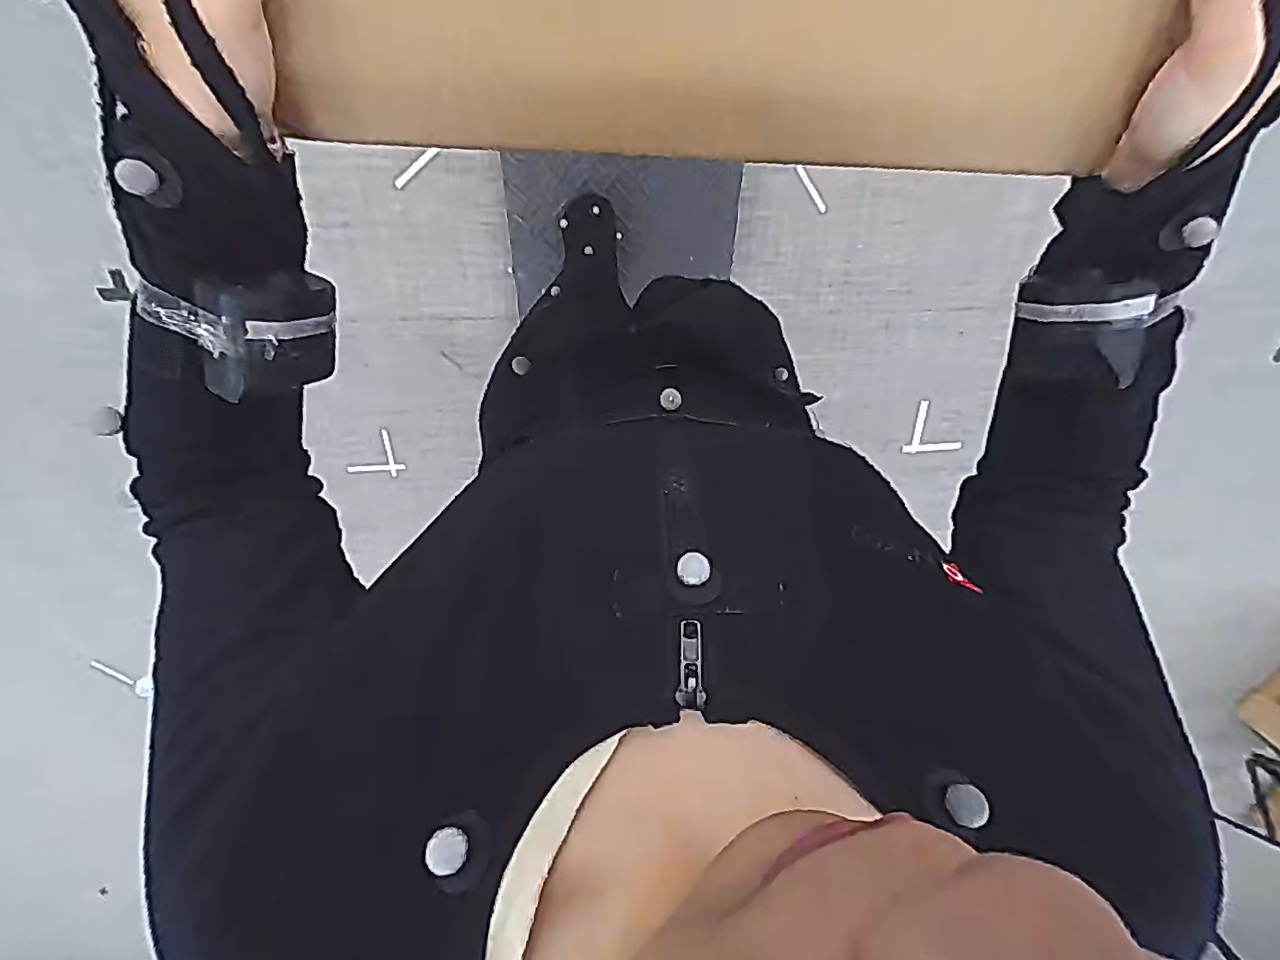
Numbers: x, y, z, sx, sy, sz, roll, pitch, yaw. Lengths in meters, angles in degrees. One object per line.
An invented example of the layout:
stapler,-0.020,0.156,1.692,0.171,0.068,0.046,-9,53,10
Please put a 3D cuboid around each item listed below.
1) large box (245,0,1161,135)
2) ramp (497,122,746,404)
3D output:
large box,0.028,-0.387,0.261,0.408,0.320,0.320,0,136,-4
ramp,-0.033,-0.600,1.119,0.509,0.206,0.991,-3,118,-4
